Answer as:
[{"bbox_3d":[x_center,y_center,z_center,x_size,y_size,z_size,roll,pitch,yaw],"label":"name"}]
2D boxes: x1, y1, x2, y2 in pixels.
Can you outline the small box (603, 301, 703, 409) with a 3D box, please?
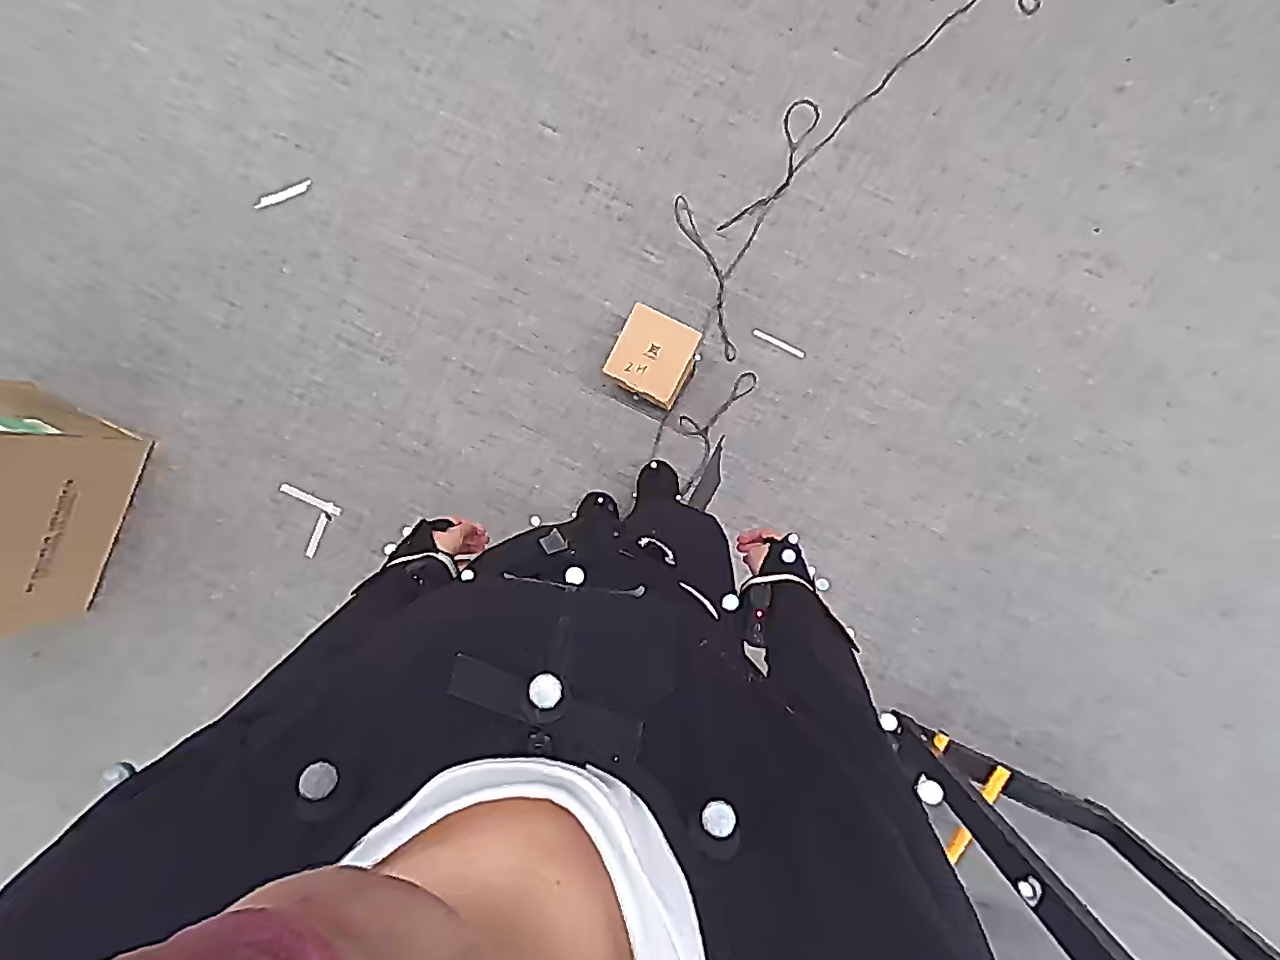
[{"bbox_3d":[0.032,-0.282,1.262,0.168,0.176,0.179,28,94,4],"label":"small box"}]
